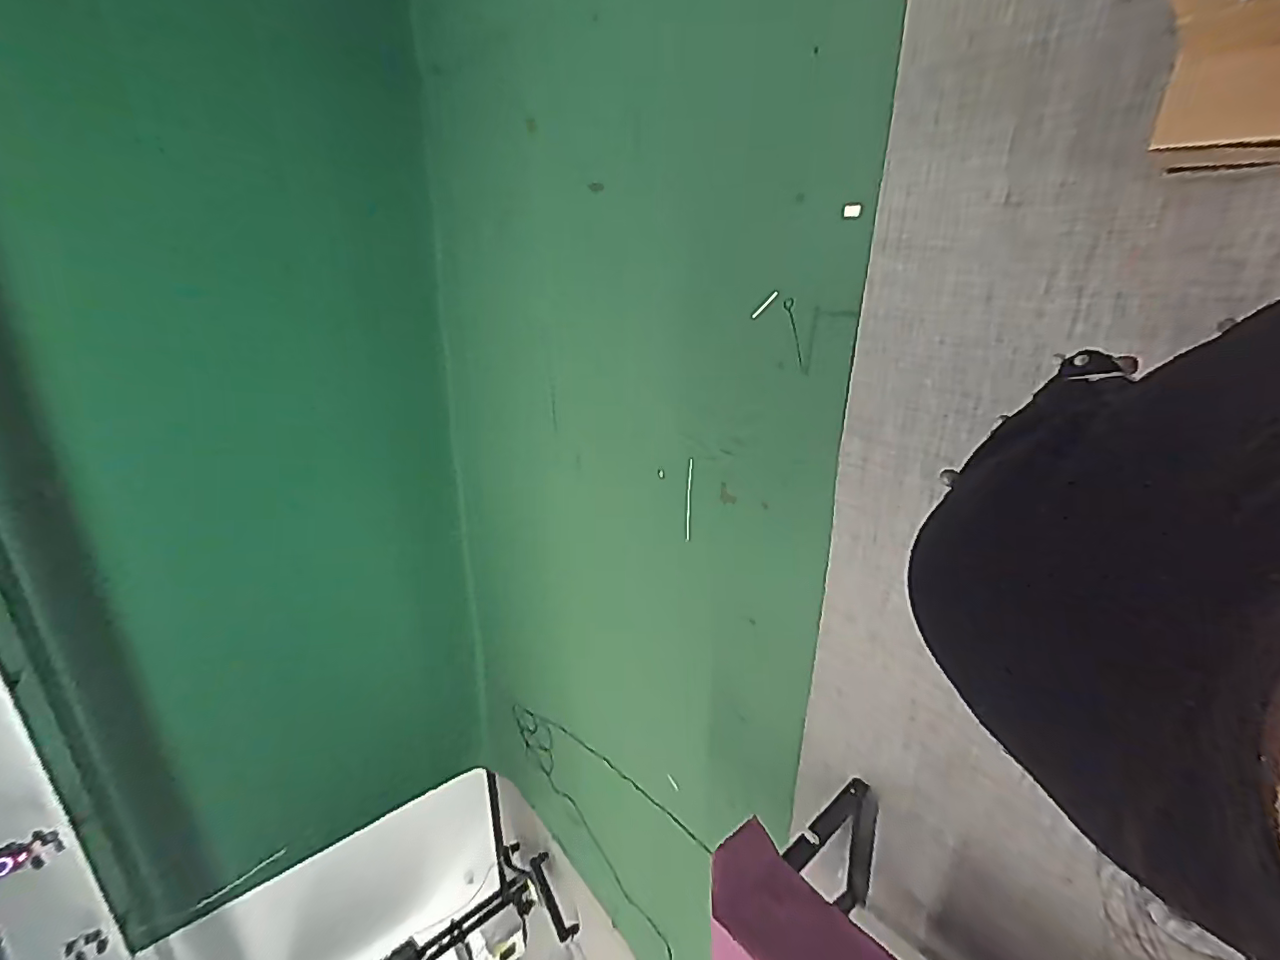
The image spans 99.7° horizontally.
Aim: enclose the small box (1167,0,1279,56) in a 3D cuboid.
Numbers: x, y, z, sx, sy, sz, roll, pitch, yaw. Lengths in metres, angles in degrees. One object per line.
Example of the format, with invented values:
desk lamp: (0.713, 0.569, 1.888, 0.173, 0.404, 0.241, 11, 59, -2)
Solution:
small box: (0.802, -0.656, 0.663, 0.168, 0.176, 0.179, 26, 118, 44)
